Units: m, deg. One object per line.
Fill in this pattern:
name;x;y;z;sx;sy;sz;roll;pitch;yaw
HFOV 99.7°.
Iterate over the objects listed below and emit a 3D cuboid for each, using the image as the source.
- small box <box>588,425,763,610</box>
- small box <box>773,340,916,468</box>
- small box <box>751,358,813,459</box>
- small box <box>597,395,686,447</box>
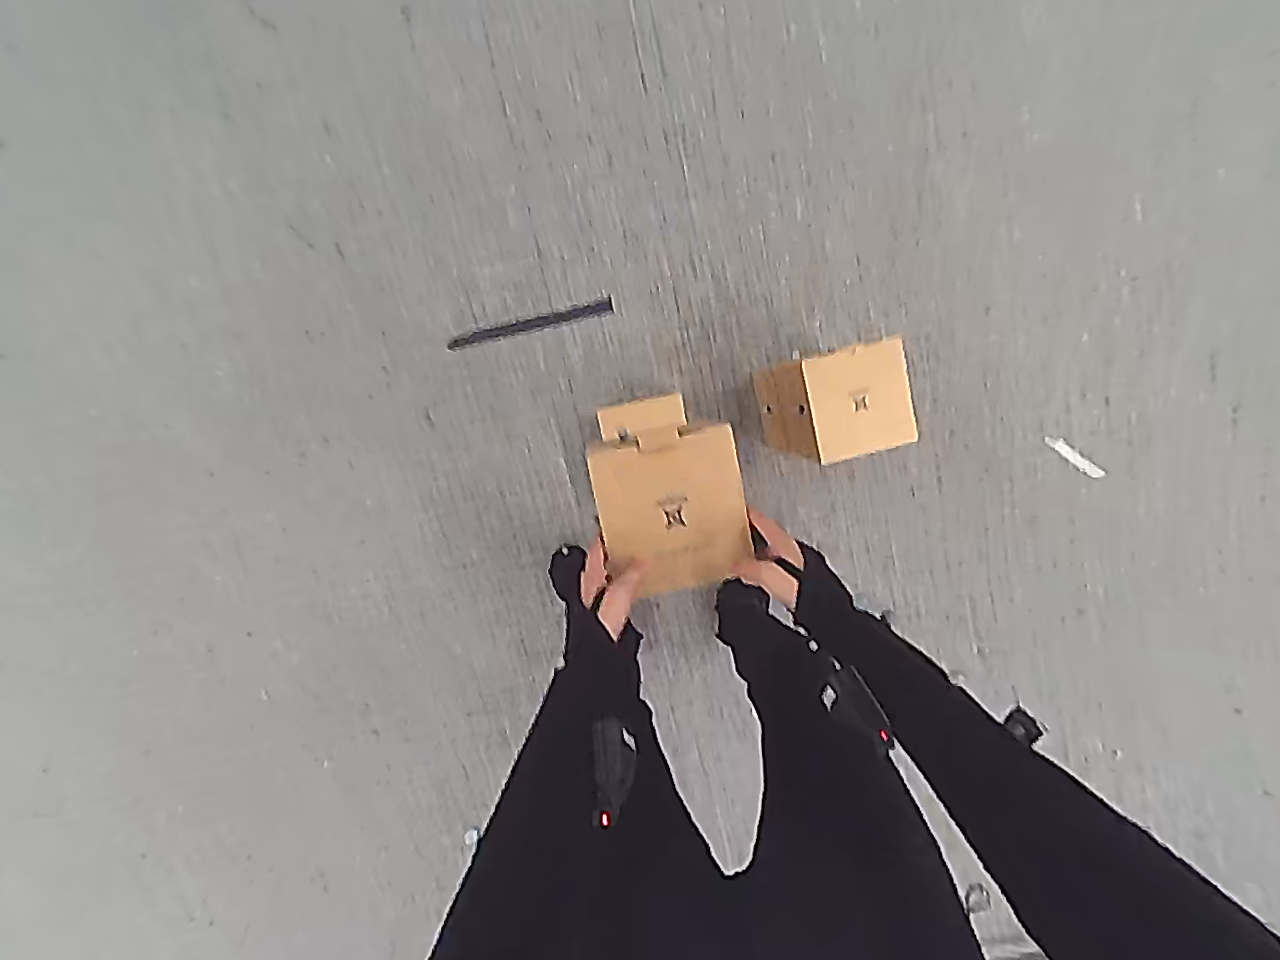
small box;0.033;0.034;0.658;0.168;0.176;0.179;-12;97;-2
small box;0.348;-0.132;0.943;0.168;0.176;0.179;-15;97;0
small box;0.339;-0.153;1.104;0.168;0.176;0.179;-15;97;0
small box;0.008;-0.070;1.104;0.168;0.176;0.179;-12;99;0
